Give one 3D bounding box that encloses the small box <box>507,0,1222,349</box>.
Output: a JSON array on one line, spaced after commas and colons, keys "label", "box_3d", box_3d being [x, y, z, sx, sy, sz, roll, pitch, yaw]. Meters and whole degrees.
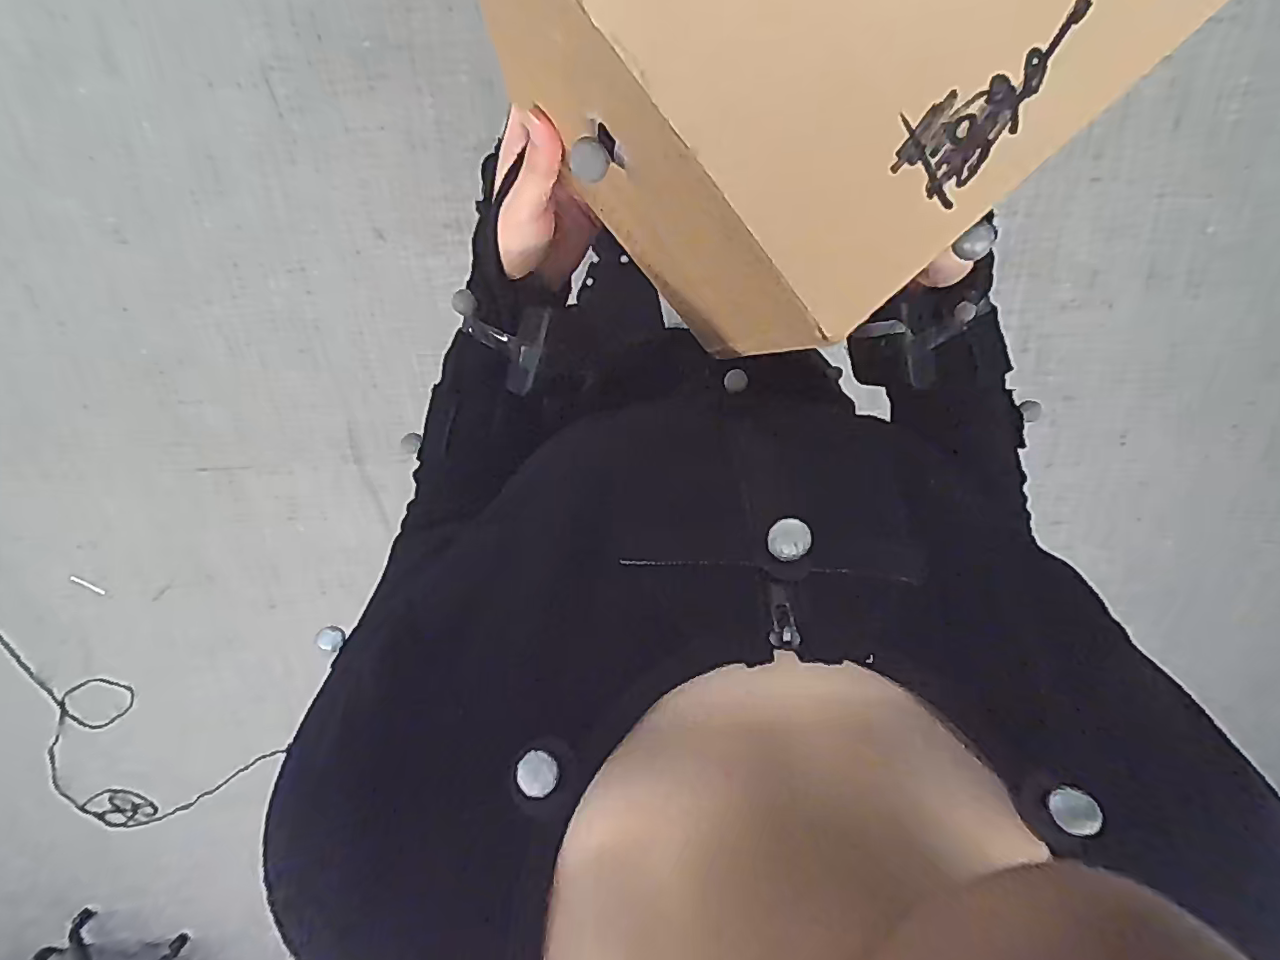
[{"label": "small box", "box_3d": [0.059, -0.173, 0.228, 0.168, 0.176, 0.179, -42, 100, 5]}]
